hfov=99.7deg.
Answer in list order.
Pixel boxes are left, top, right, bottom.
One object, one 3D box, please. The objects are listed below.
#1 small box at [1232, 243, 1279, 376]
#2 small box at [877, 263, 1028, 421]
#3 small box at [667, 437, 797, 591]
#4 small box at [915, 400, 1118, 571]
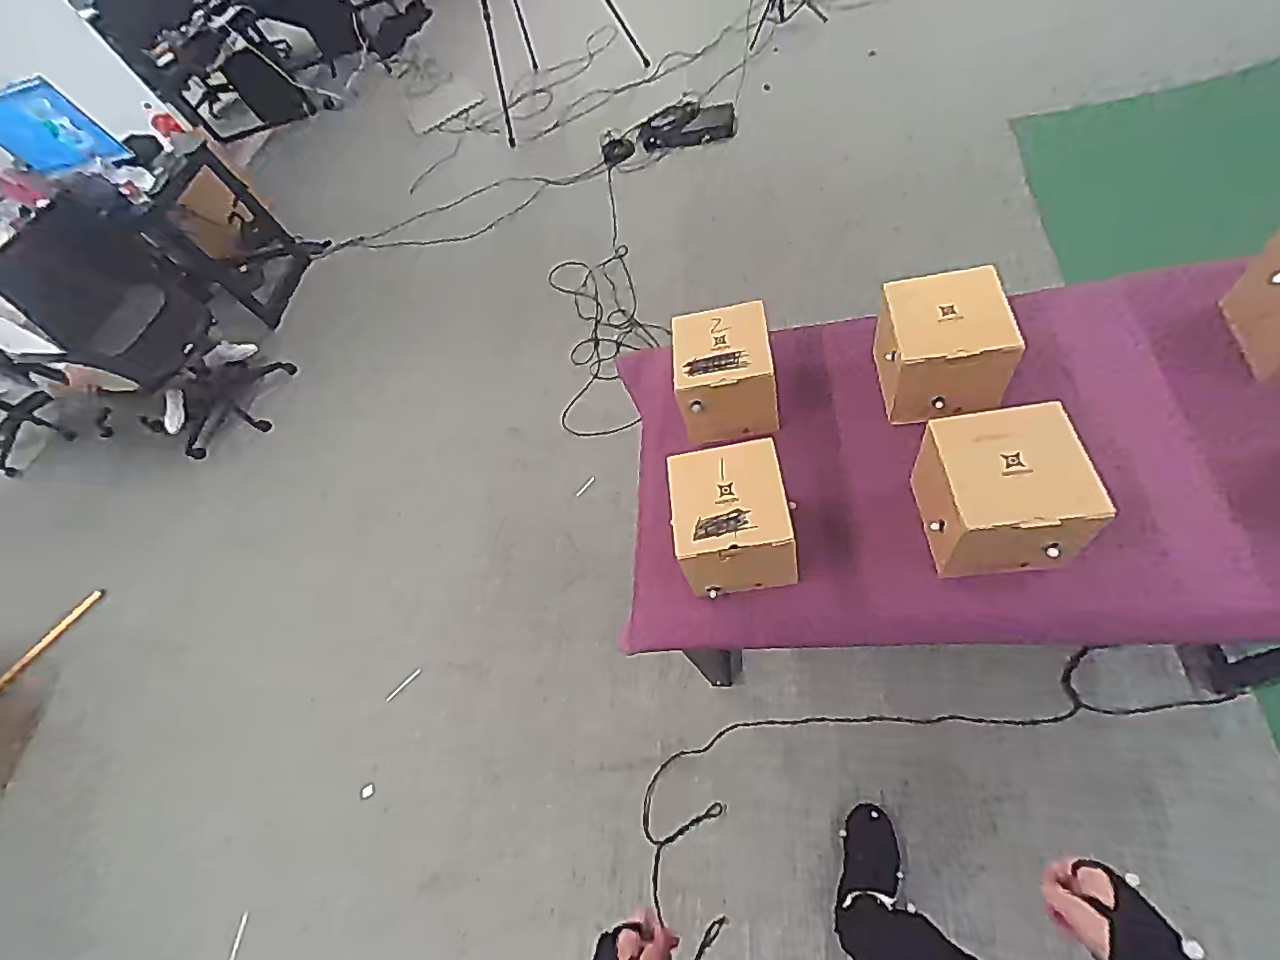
[{"bbox_3d":[0.997,-0.263,0.750,0.168,0.176,0.179,-1,61,19],"label":"small box"},{"bbox_3d":[0.498,-0.222,0.895,0.168,0.176,0.179,-6,61,15],"label":"small box"},{"bbox_3d":[0.145,0.063,0.841,0.168,0.176,0.179,-10,56,12],"label":"small box"},{"bbox_3d":[0.500,0.018,0.752,0.168,0.176,0.179,-7,58,13],"label":"small box"}]
